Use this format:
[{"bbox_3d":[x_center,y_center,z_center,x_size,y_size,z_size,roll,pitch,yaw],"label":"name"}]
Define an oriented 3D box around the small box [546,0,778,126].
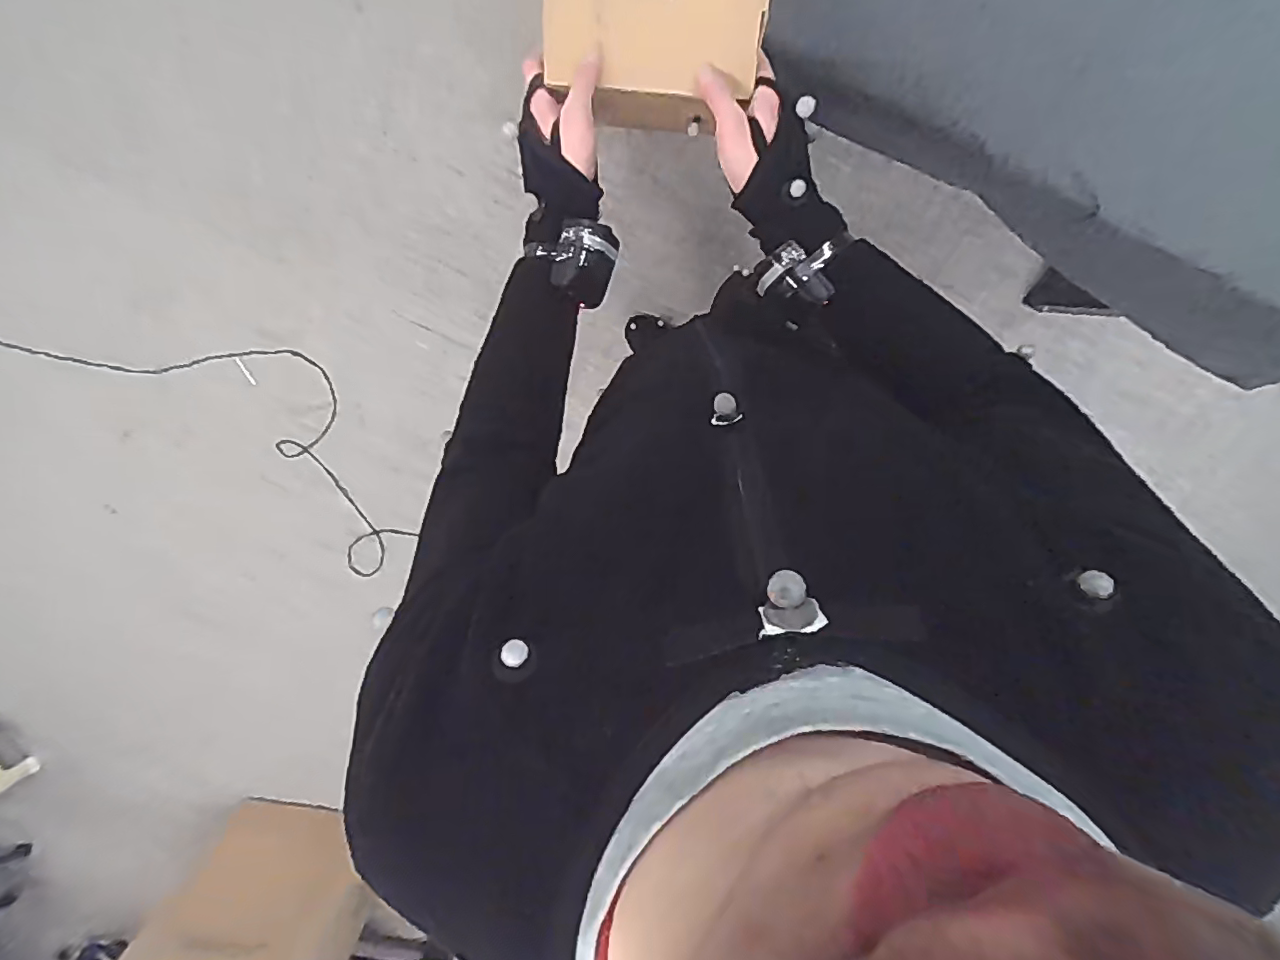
[{"bbox_3d":[0.020,-0.422,0.467,0.179,0.176,0.168,4,112,0],"label":"small box"}]
